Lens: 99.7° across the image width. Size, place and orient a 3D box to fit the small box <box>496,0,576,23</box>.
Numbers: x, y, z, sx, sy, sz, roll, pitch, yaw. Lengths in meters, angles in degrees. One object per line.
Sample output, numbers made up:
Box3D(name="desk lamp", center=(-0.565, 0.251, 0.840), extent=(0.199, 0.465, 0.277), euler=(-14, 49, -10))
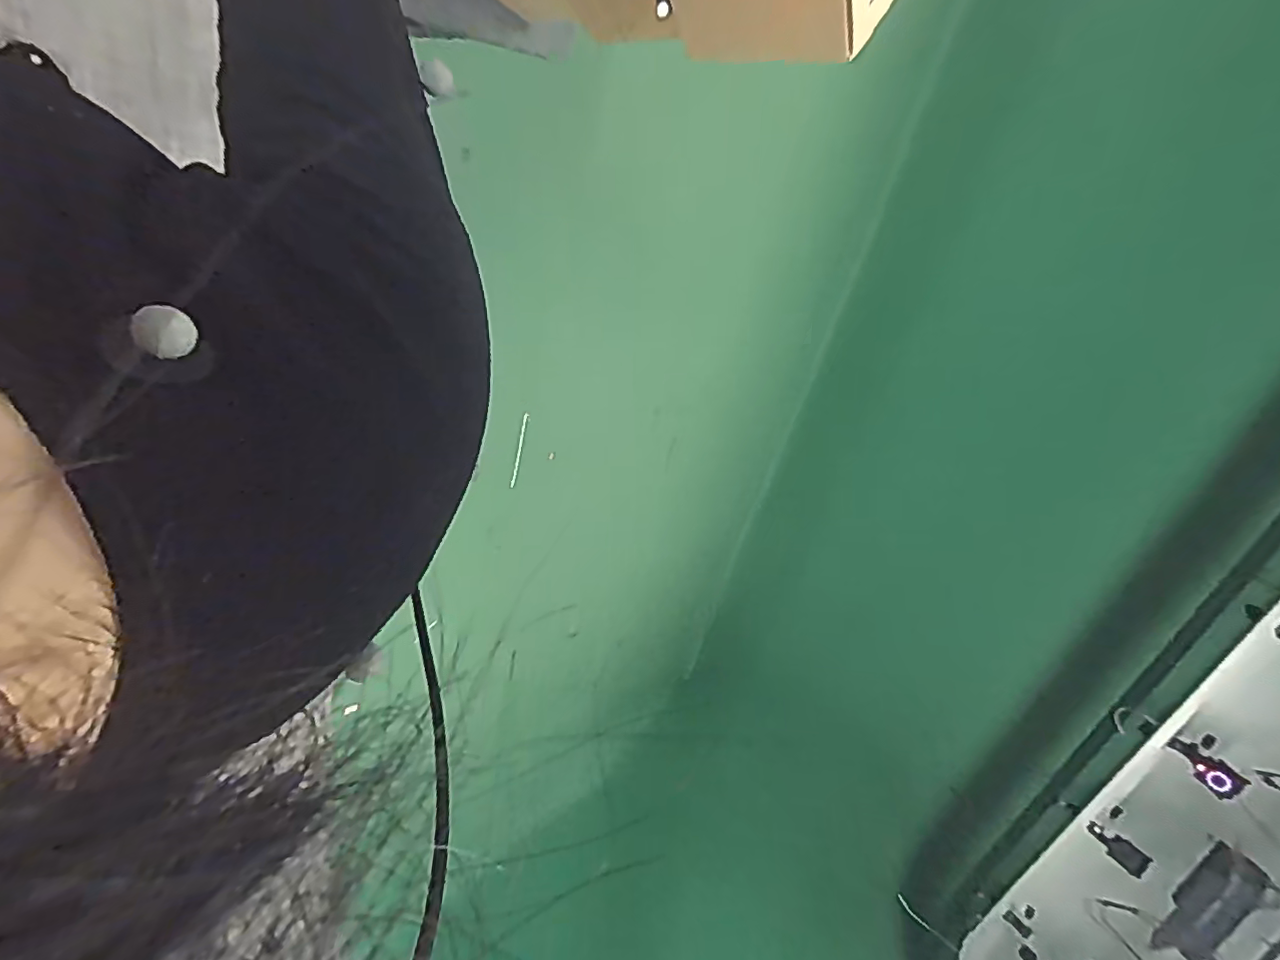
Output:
Box3D(name="small box", center=(-0.112, -0.629, 0.578), extent=(0.179, 0.176, 0.168), euler=(-5, 118, -51))
